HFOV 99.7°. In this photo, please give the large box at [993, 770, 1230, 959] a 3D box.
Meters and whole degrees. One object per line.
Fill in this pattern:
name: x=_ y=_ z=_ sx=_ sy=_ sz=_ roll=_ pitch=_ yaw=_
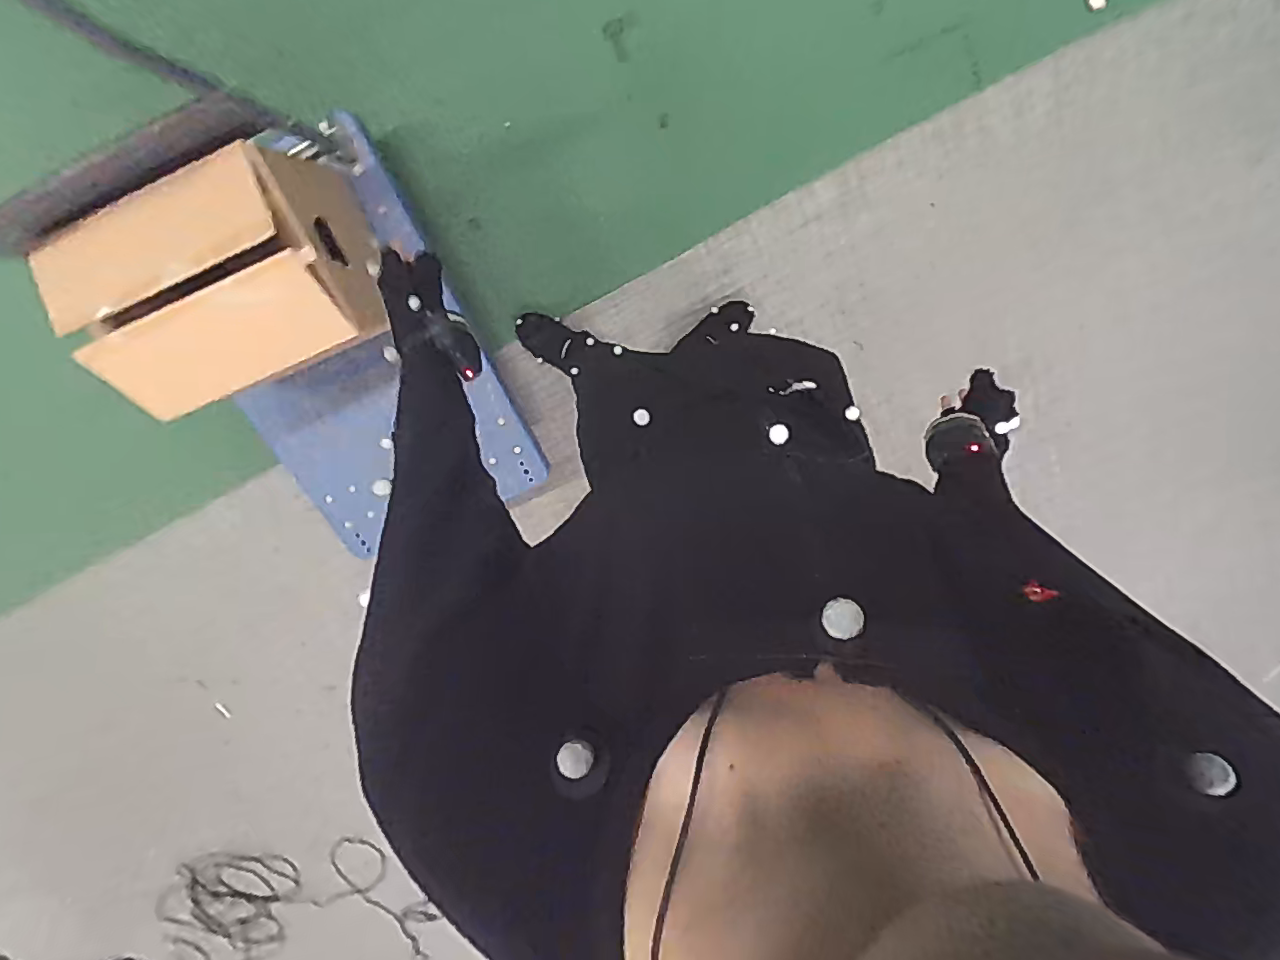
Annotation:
large box: x=1.368 y=1.155 z=1.604 sx=0.408 sy=0.320 sz=0.320 roll=-26 pitch=107 yaw=8
